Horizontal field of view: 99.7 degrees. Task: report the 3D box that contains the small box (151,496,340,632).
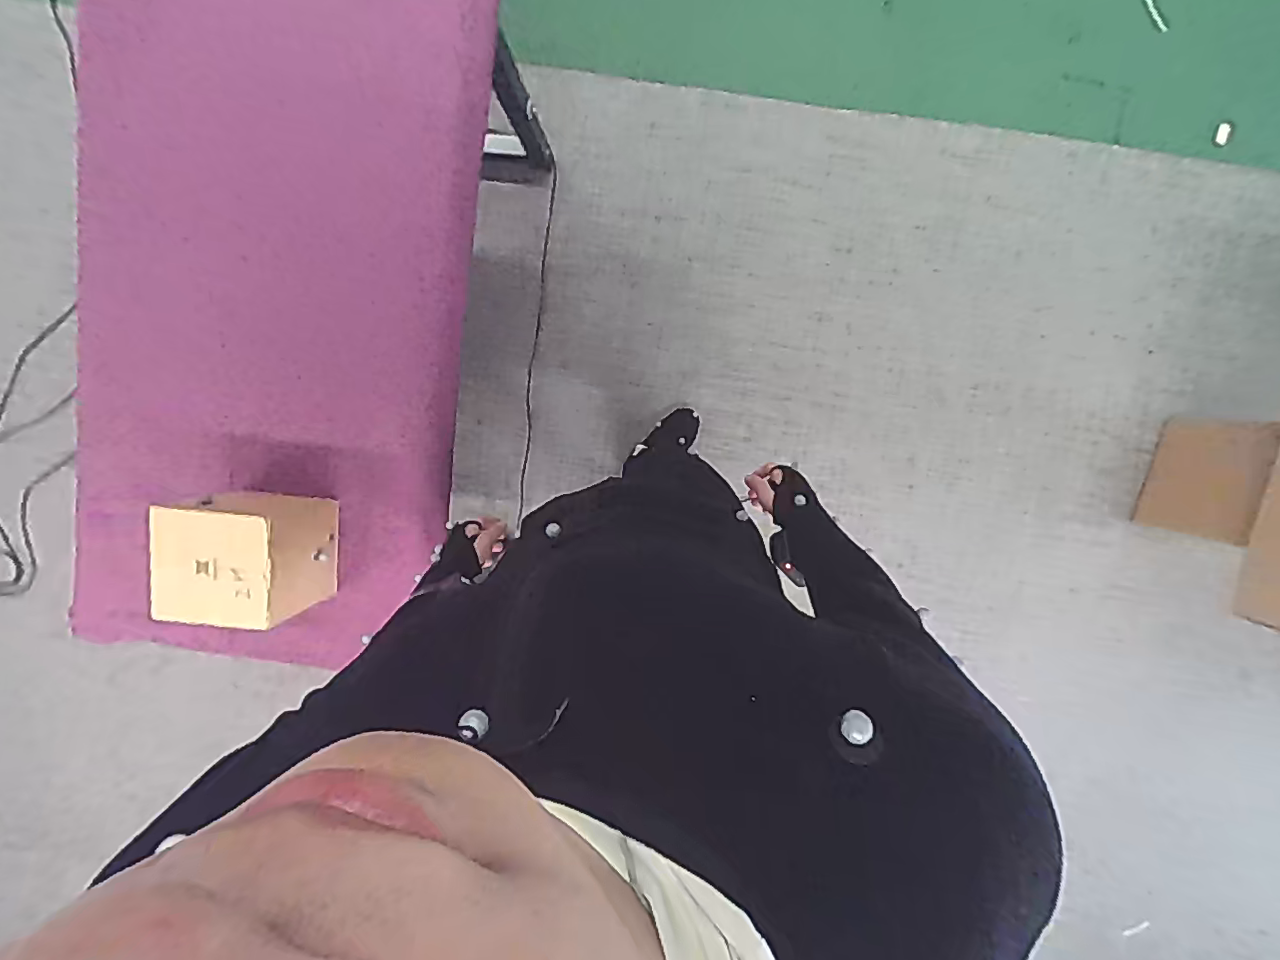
[{"bbox_3d":[-0.605,0.120,0.844,0.179,0.176,0.168,5,97,2],"label":"small box"}]
